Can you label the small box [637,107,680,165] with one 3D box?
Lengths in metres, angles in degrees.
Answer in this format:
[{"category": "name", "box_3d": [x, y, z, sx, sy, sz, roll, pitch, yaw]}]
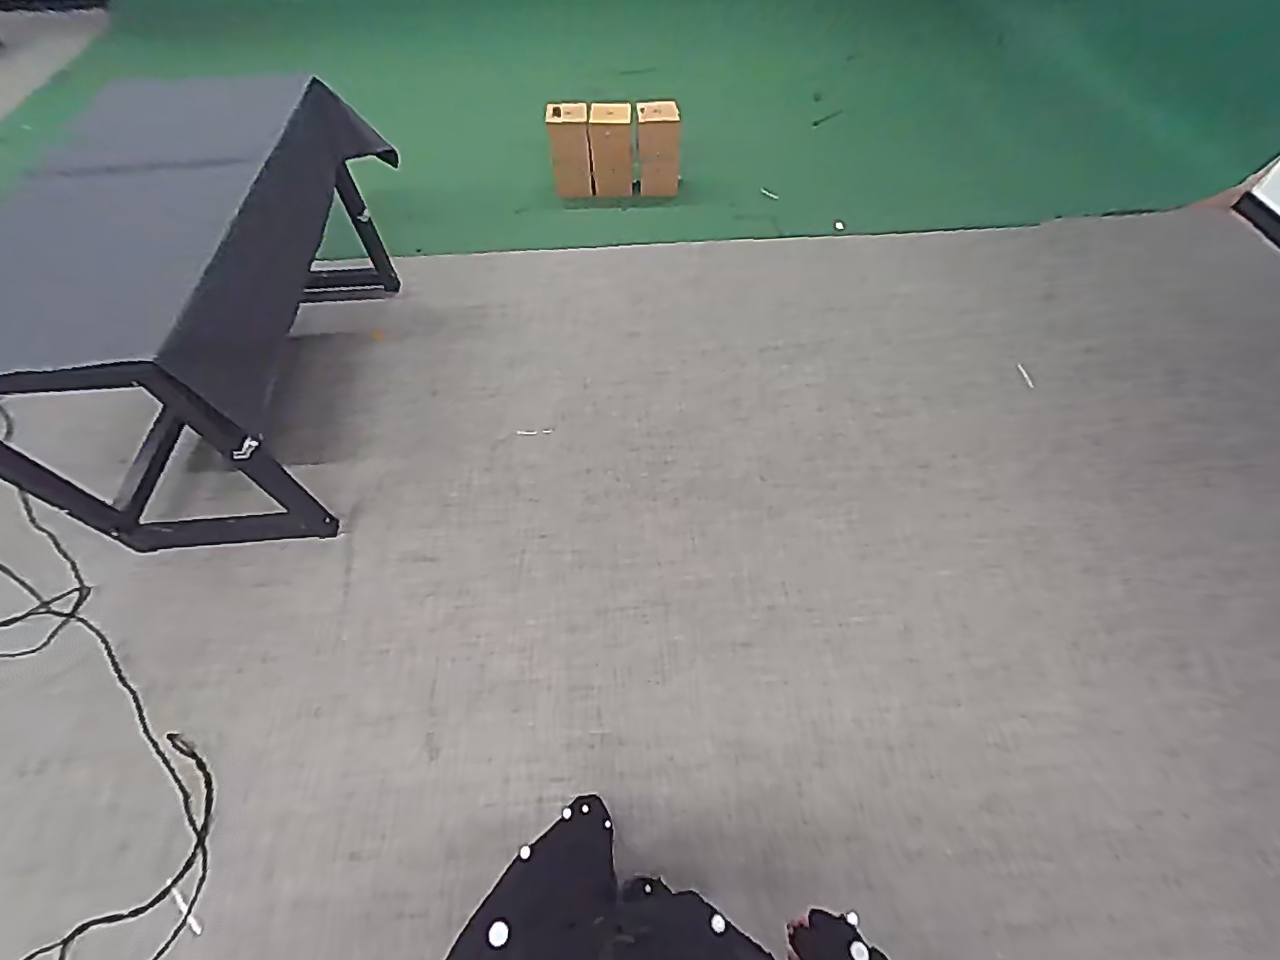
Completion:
[{"category": "small box", "box_3d": [0.078, -1.526, 2.402, 0.179, 0.176, 0.168, -3, 57, -3]}]
